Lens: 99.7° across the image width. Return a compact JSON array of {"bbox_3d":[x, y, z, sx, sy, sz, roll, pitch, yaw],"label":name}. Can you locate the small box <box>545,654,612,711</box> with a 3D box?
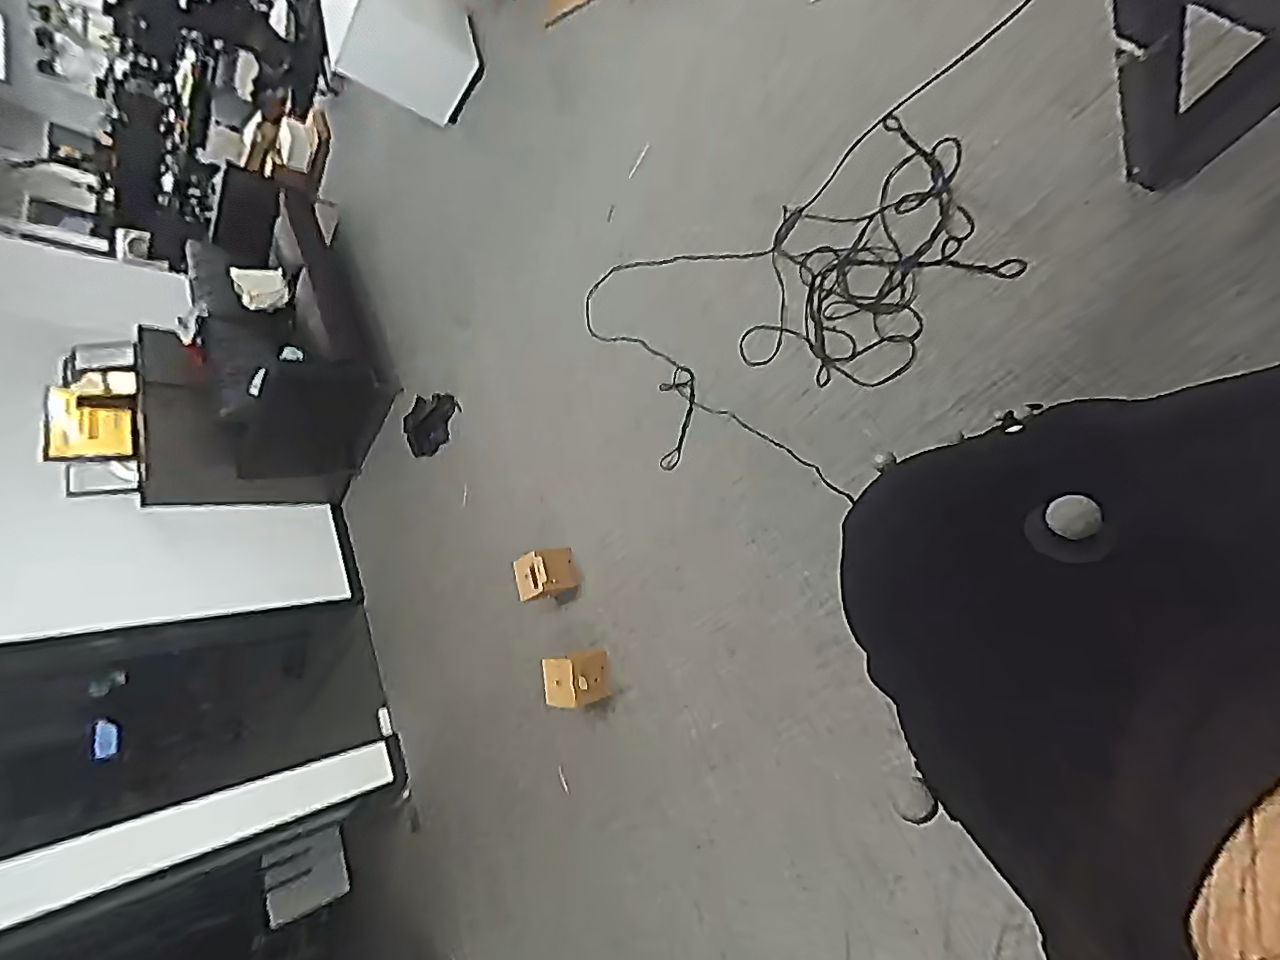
[{"bbox_3d":[-0.228,0.749,2.012,0.179,0.176,0.168,-18,76,41],"label":"small box"}]
